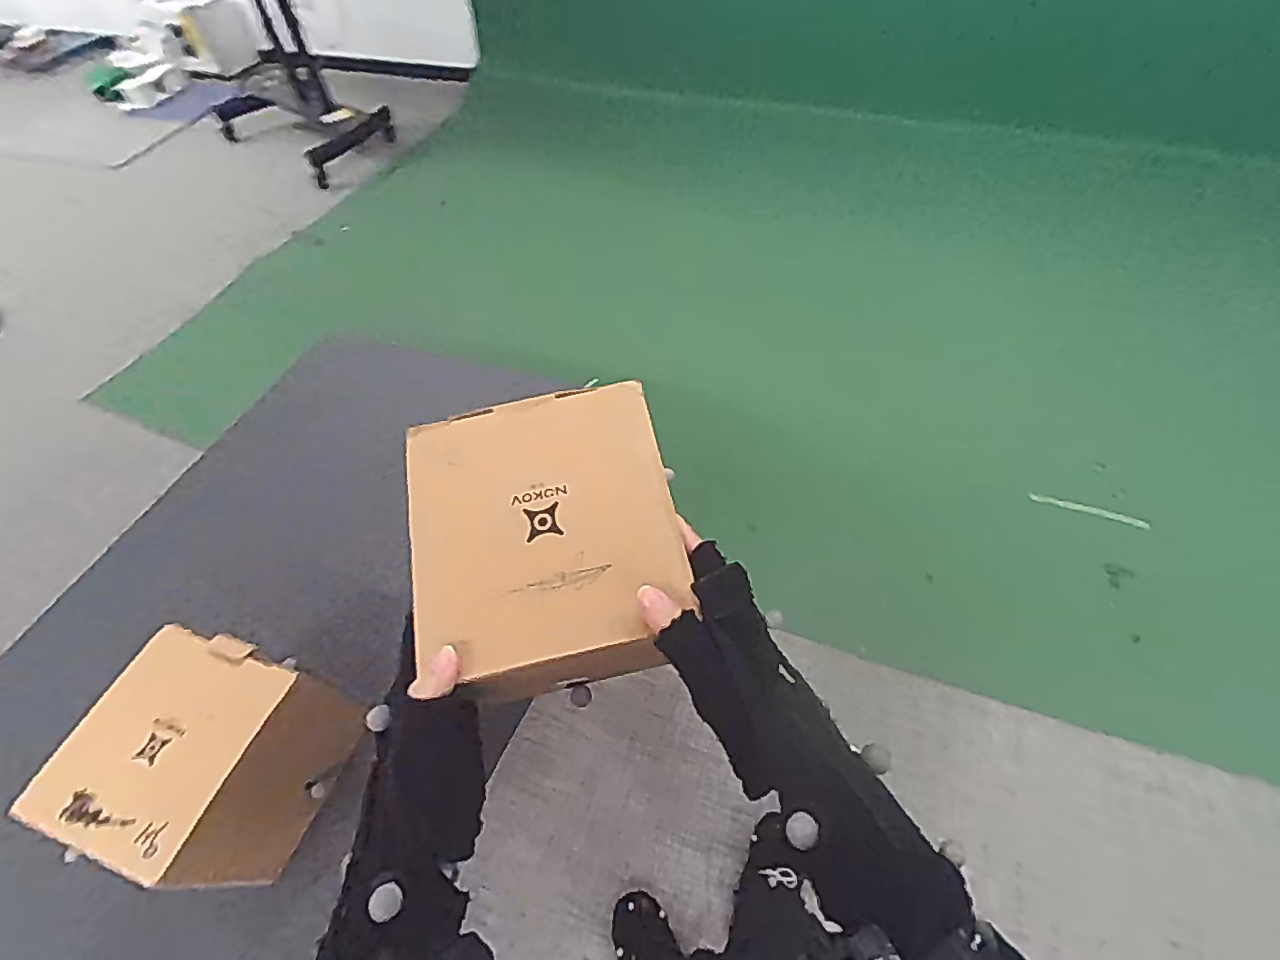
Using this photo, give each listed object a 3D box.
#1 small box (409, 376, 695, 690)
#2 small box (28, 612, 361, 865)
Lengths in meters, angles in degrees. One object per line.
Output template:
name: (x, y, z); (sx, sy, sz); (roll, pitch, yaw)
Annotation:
small box: (-0.060, 0.051, 0.413); (0.168, 0.176, 0.179); (-12, 66, -1)
small box: (-0.429, 0.269, 0.564); (0.168, 0.176, 0.179); (14, 58, 13)
